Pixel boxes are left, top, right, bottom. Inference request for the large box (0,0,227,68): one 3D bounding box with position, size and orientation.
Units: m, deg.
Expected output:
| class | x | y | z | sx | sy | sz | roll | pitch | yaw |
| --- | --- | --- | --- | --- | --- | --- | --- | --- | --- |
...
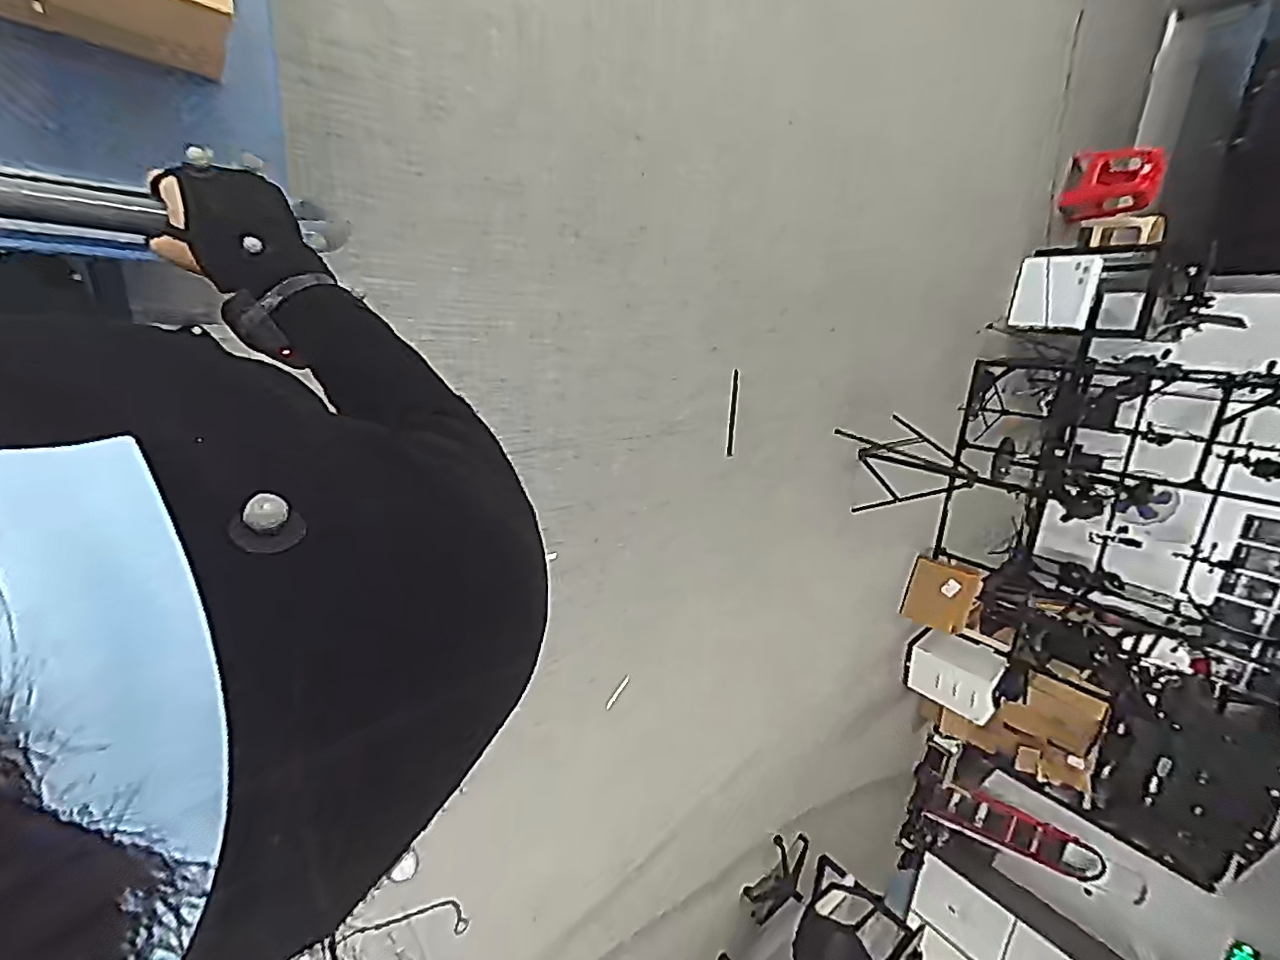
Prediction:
| class | x | y | z | sx | sy | sz | roll | pitch | yaw |
| --- | --- | --- | --- | --- | --- | --- | --- | --- | --- |
| large box | -0.785 | -0.789 | 0.666 | 0.408 | 0.320 | 0.320 | -8 | 110 | -38 |
